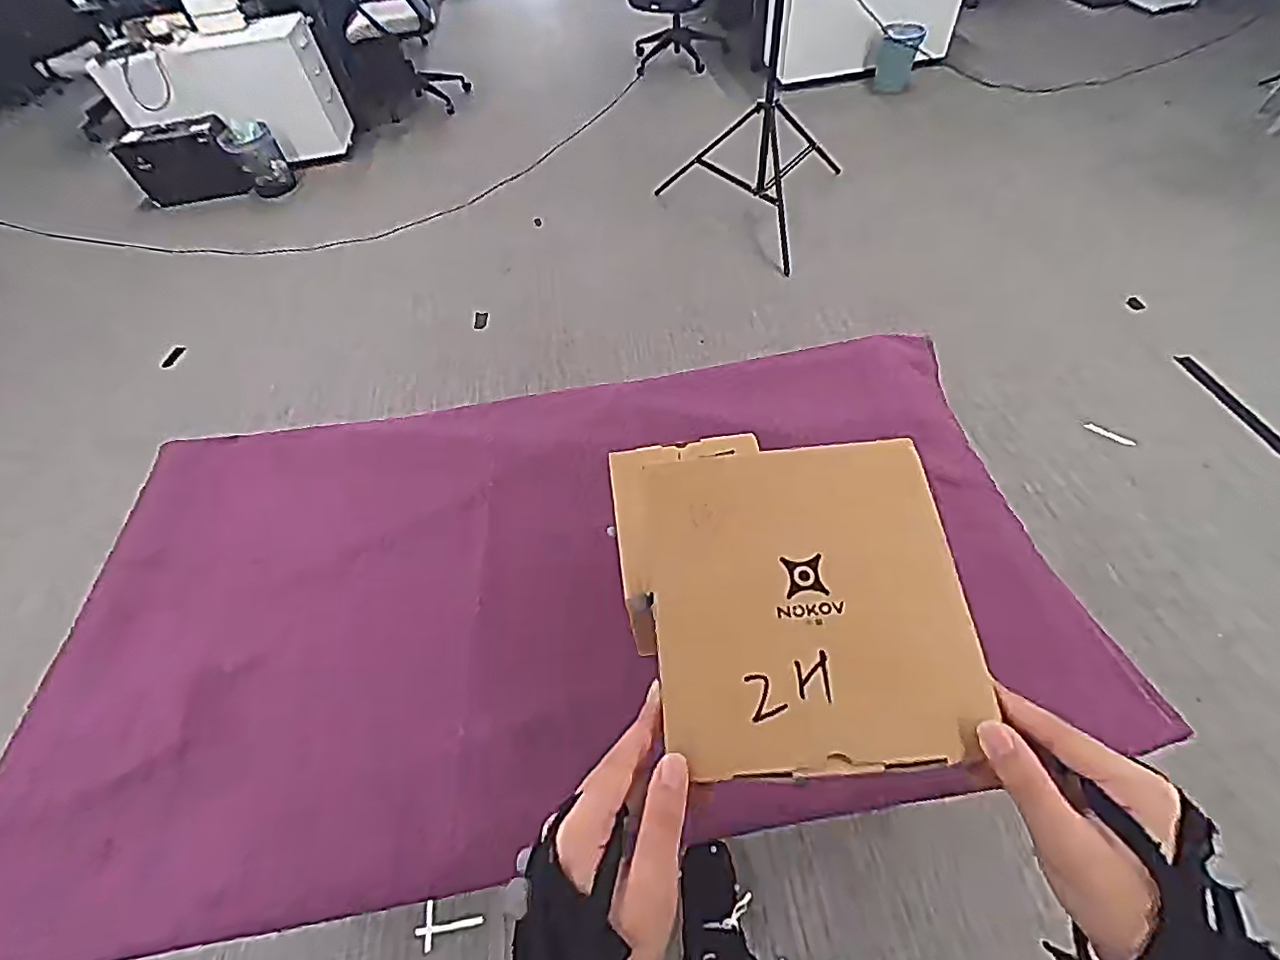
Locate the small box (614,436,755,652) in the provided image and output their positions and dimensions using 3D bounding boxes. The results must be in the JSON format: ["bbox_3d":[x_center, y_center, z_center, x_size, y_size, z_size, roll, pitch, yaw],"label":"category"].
[{"bbox_3d":[0.064,0.077,0.620,0.168,0.176,0.179,-9,54,0],"label":"small box"}]

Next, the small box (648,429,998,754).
[{"bbox_3d":[0.093,0.086,0.371,0.168,0.176,0.179,-5,65,2],"label":"small box"}]
